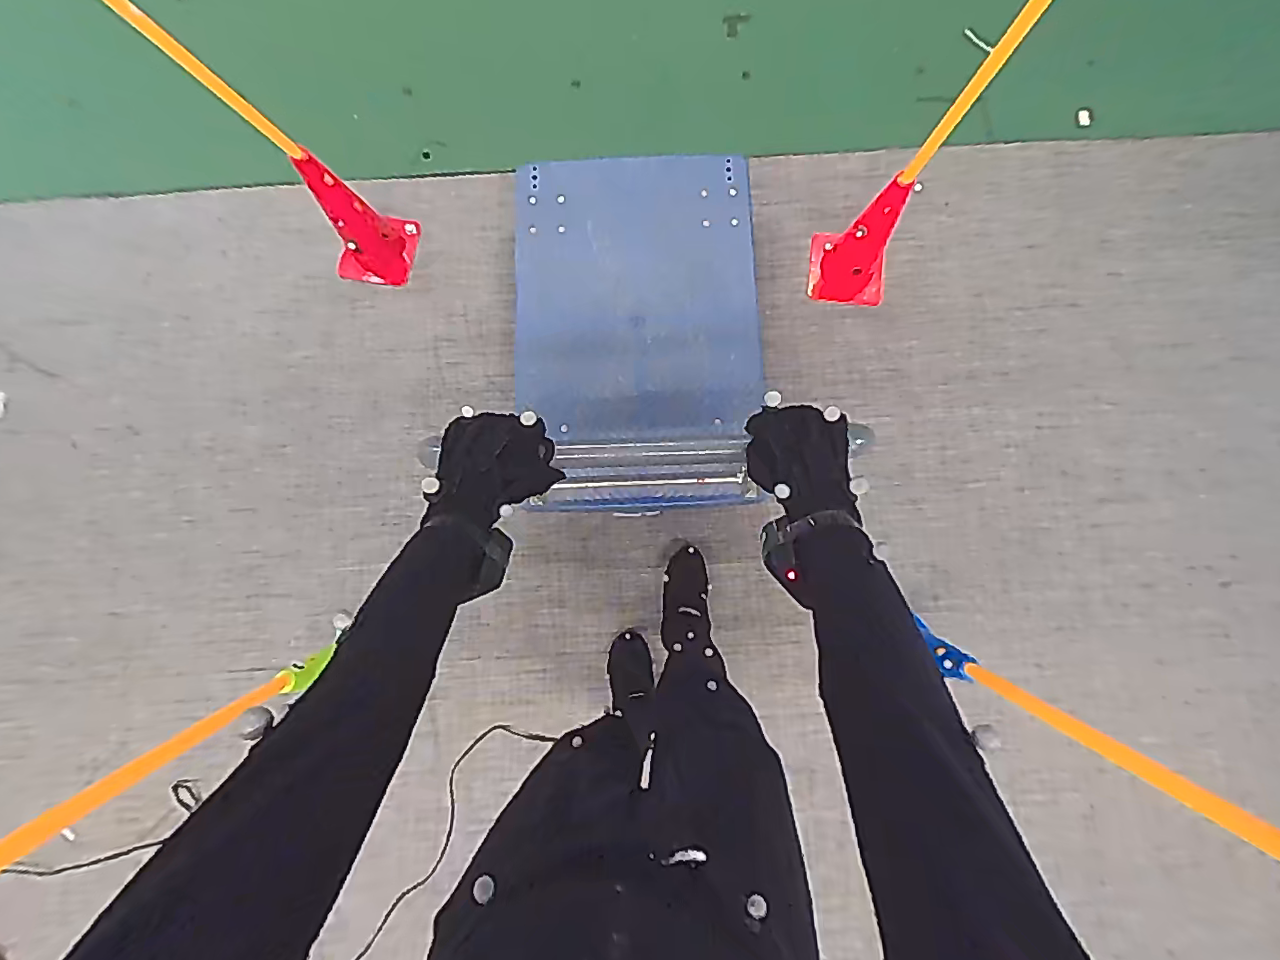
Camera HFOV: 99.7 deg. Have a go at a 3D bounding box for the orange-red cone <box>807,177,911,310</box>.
[{"bbox_3d":[0.559,-0.592,1.312,0.198,0.360,0.199,8,81,3],"label":"orange-red cone"}]
